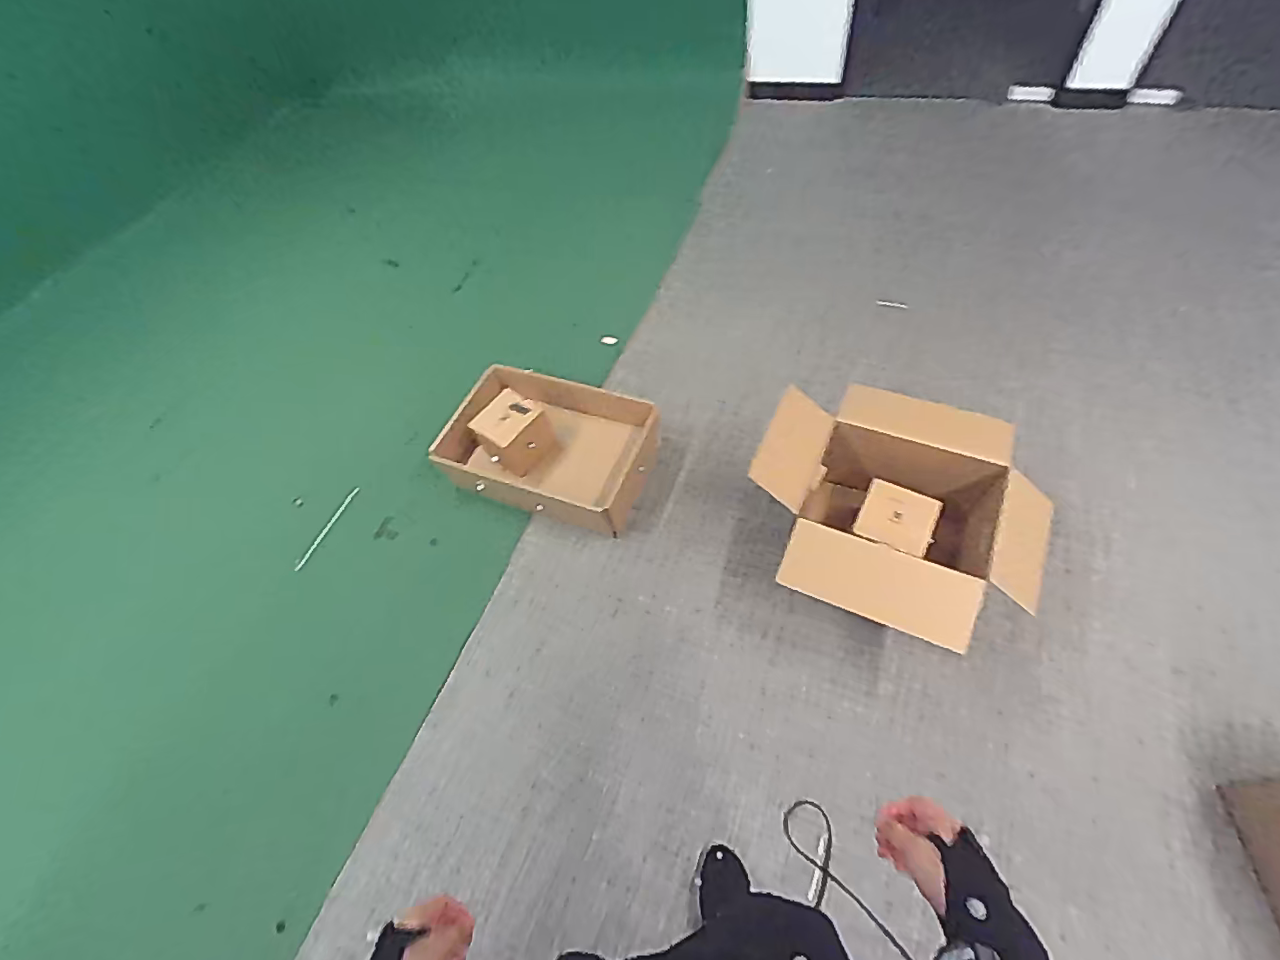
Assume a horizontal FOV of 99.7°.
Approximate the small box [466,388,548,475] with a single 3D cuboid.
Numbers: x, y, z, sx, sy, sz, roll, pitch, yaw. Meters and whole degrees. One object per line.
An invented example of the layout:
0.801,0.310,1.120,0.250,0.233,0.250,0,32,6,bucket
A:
-0.409,-0.150,1.710,0.168,0.176,0.179,31,67,23,small box
